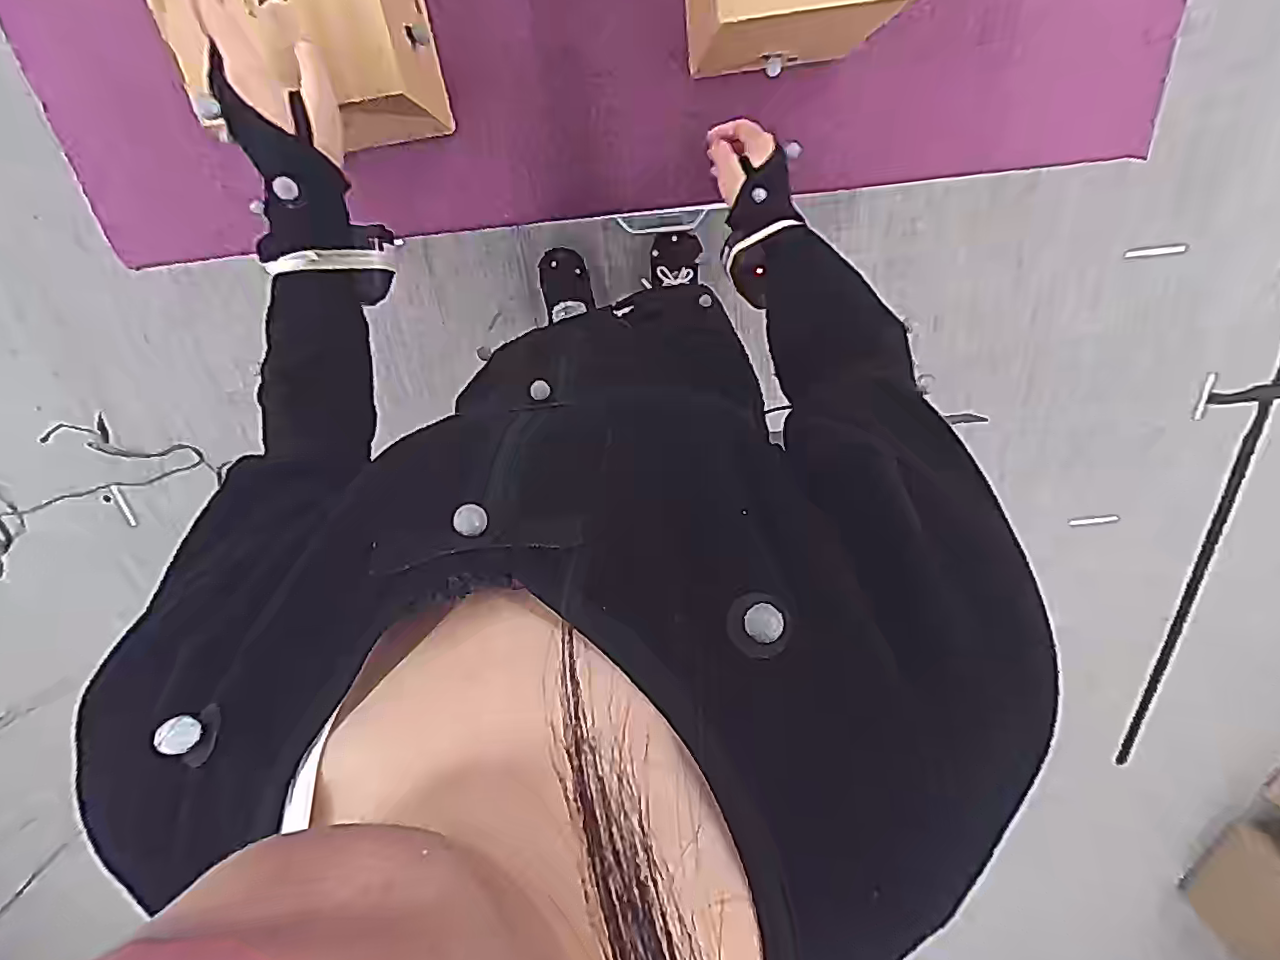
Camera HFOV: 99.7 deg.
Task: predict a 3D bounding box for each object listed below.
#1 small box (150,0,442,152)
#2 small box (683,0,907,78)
[{"bbox_3d":[-0.296,-0.412,0.490,0.179,0.176,0.168,-9,114,1],"label":"small box"},{"bbox_3d":[0.125,-0.488,0.475,0.168,0.176,0.179,-7,115,1],"label":"small box"}]
